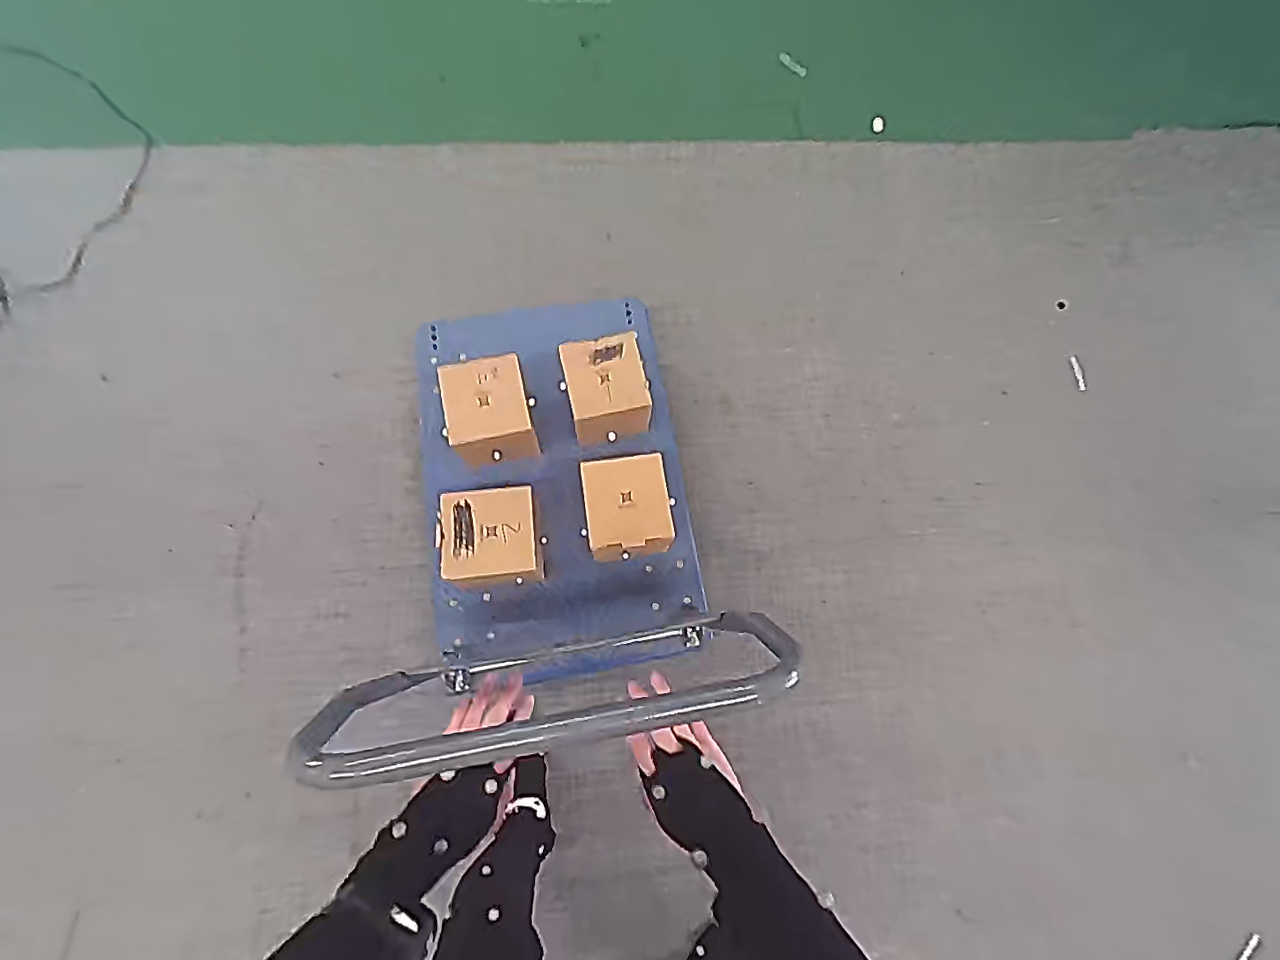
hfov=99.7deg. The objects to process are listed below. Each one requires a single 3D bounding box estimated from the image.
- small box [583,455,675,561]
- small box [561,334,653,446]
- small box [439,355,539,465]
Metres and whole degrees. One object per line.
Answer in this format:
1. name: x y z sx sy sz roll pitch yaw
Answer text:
1. small box: -0.030 0.062 1.129 0.168 0.176 0.179 -7 75 -6
2. small box: -0.075 -0.195 1.198 0.168 0.176 0.179 -12 76 -6
3. small box: -0.319 -0.142 1.169 0.168 0.176 0.179 -11 75 -7
